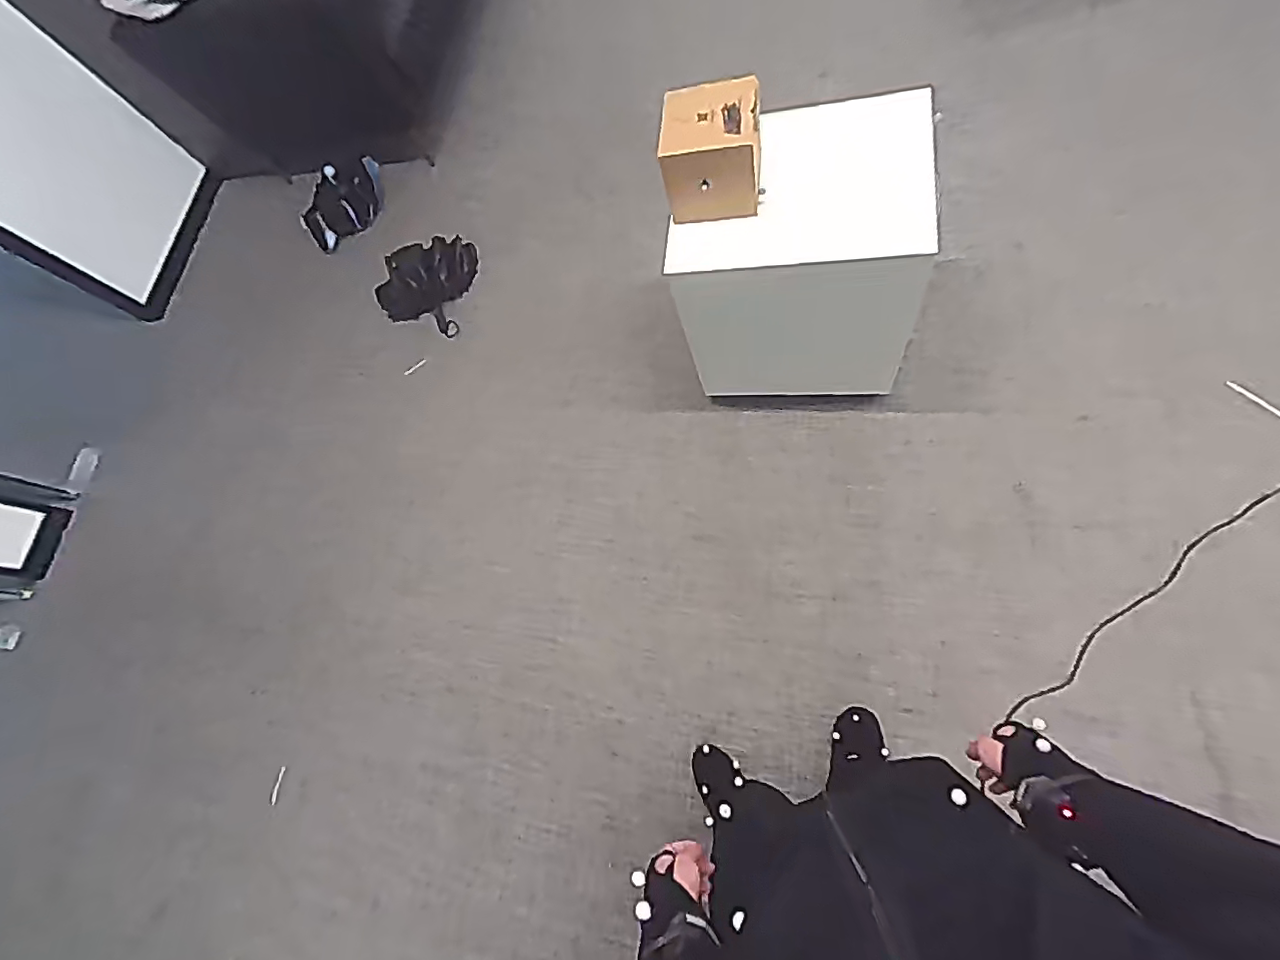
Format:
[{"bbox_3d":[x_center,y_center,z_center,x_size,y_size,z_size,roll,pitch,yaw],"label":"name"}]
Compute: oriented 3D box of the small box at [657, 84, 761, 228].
[{"bbox_3d":[0.143,-0.627,1.066,0.179,0.176,0.168,1,72,17],"label":"small box"}]
